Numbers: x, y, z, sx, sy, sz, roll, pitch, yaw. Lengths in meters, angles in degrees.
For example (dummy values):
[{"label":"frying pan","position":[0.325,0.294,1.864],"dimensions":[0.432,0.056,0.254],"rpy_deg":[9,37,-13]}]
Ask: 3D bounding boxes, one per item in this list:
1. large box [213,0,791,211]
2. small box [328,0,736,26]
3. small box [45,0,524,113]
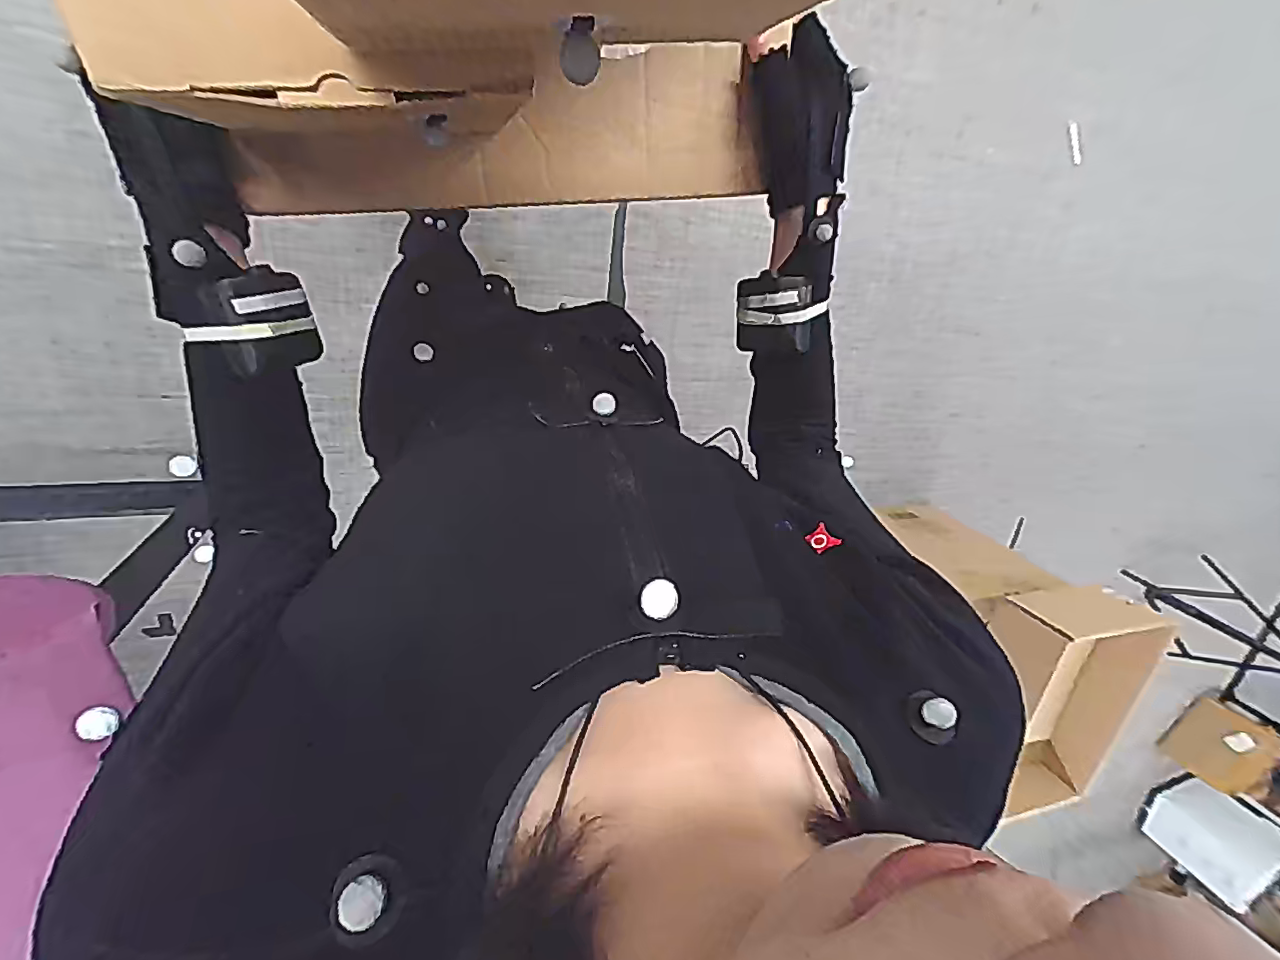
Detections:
[{"label":"large box","position":[-0.125,-0.420,0.456],"dimensions":[0.408,0.320,0.320],"rpy_deg":[-11,122,-13]},{"label":"small box","position":[-0.019,-0.222,0.115],"dimensions":[0.179,0.176,0.168],"rpy_deg":[-11,121,-11]},{"label":"small box","position":[-0.152,-0.273,0.239],"dimensions":[0.168,0.176,0.179],"rpy_deg":[-11,120,-15]}]
